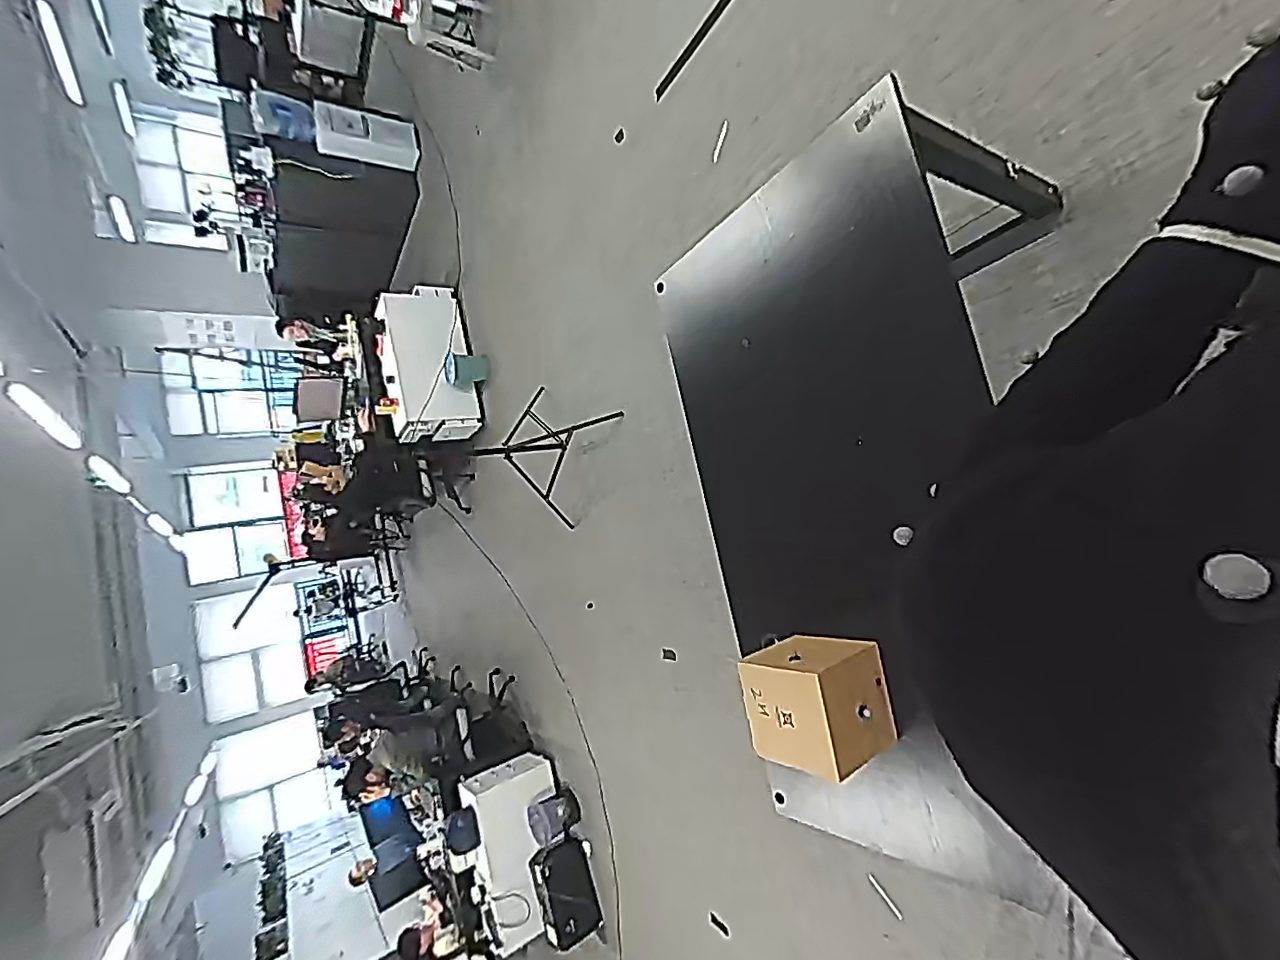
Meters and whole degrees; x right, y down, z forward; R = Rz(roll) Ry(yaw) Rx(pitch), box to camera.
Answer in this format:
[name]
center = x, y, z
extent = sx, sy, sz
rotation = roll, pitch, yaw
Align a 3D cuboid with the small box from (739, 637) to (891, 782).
[small box]
center = 0.301, 0.373, 0.918
extent = 0.179, 0.176, 0.168
rotation = -17, 82, 55
